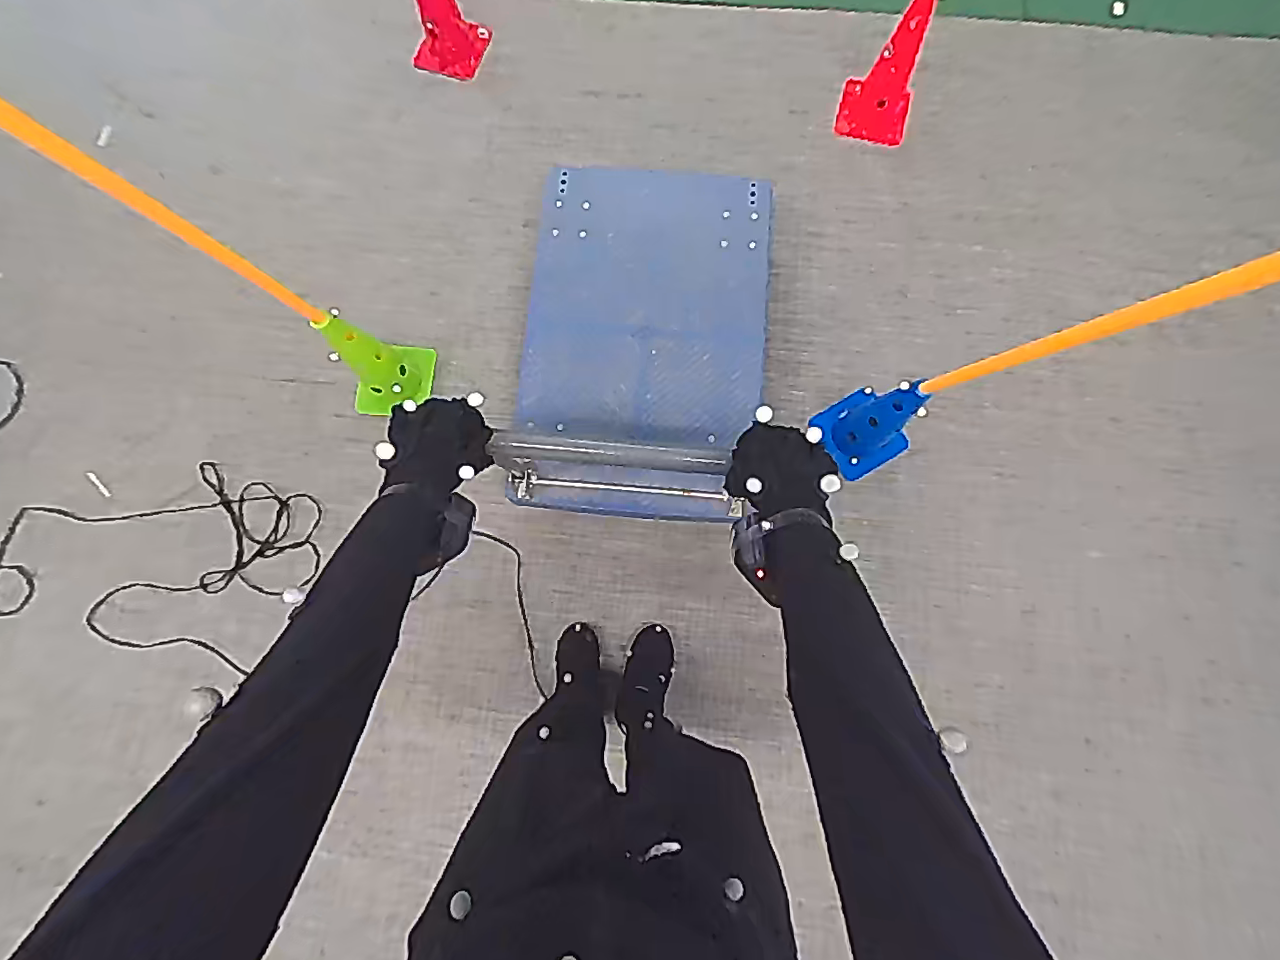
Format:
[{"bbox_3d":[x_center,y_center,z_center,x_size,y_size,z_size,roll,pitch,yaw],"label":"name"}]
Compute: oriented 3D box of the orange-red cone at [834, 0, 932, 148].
[{"bbox_3d":[0.680,-1.110,1.429,0.198,0.360,0.199,16,81,5],"label":"orange-red cone"}]
